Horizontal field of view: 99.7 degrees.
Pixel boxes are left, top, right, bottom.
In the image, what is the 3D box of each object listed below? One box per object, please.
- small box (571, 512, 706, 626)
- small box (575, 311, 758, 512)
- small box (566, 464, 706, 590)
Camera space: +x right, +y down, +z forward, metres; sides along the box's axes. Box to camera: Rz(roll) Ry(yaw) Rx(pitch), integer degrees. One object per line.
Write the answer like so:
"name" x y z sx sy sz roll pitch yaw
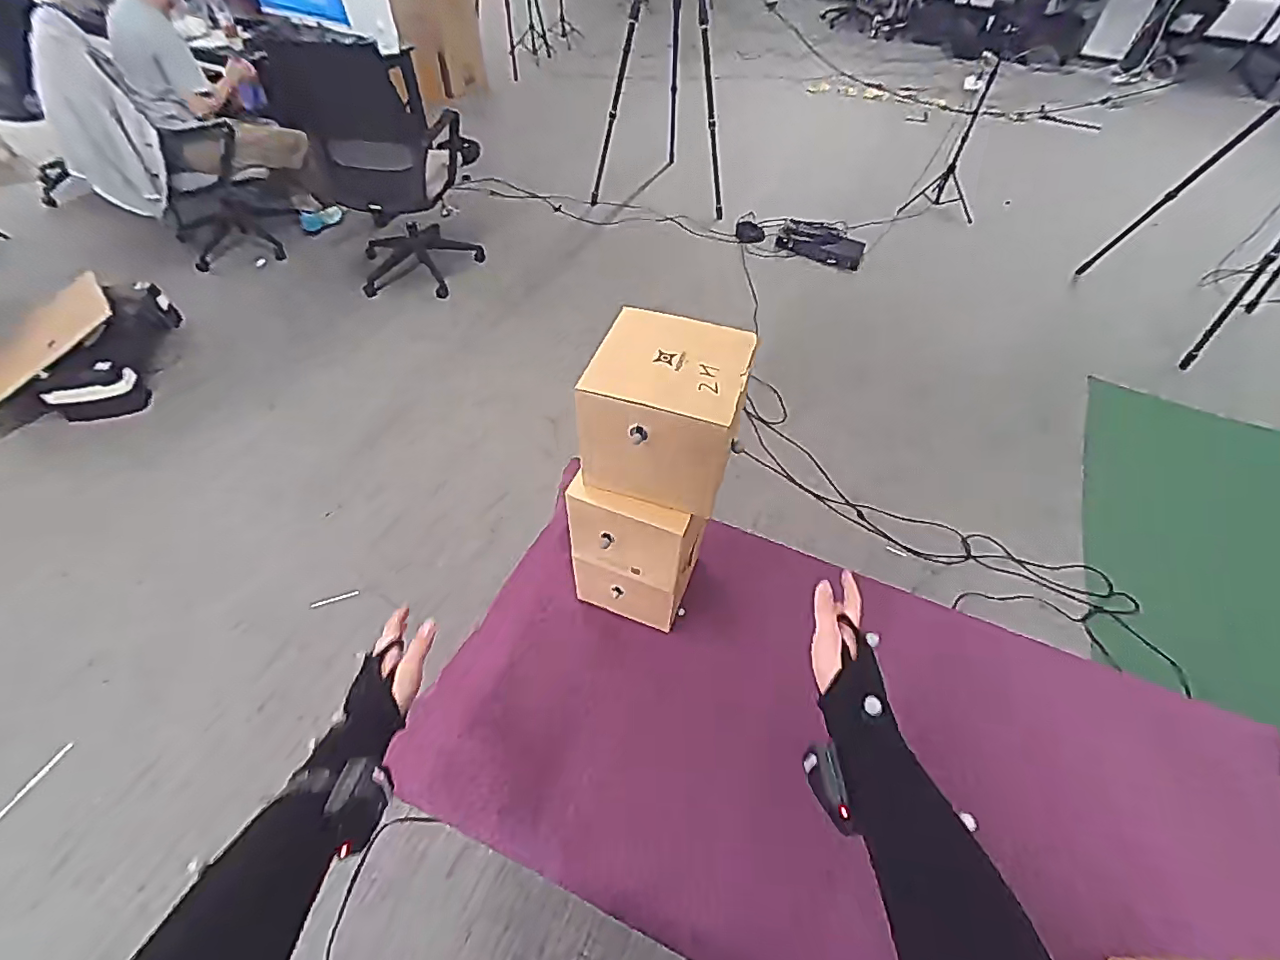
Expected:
"small box" -0.001 0.129 0.929 0.179 0.176 0.168 18 53 12
"small box" 0.033 -0.082 0.682 0.179 0.176 0.168 16 53 10
"small box" 0.008 0.034 0.799 0.168 0.176 0.179 18 53 12
